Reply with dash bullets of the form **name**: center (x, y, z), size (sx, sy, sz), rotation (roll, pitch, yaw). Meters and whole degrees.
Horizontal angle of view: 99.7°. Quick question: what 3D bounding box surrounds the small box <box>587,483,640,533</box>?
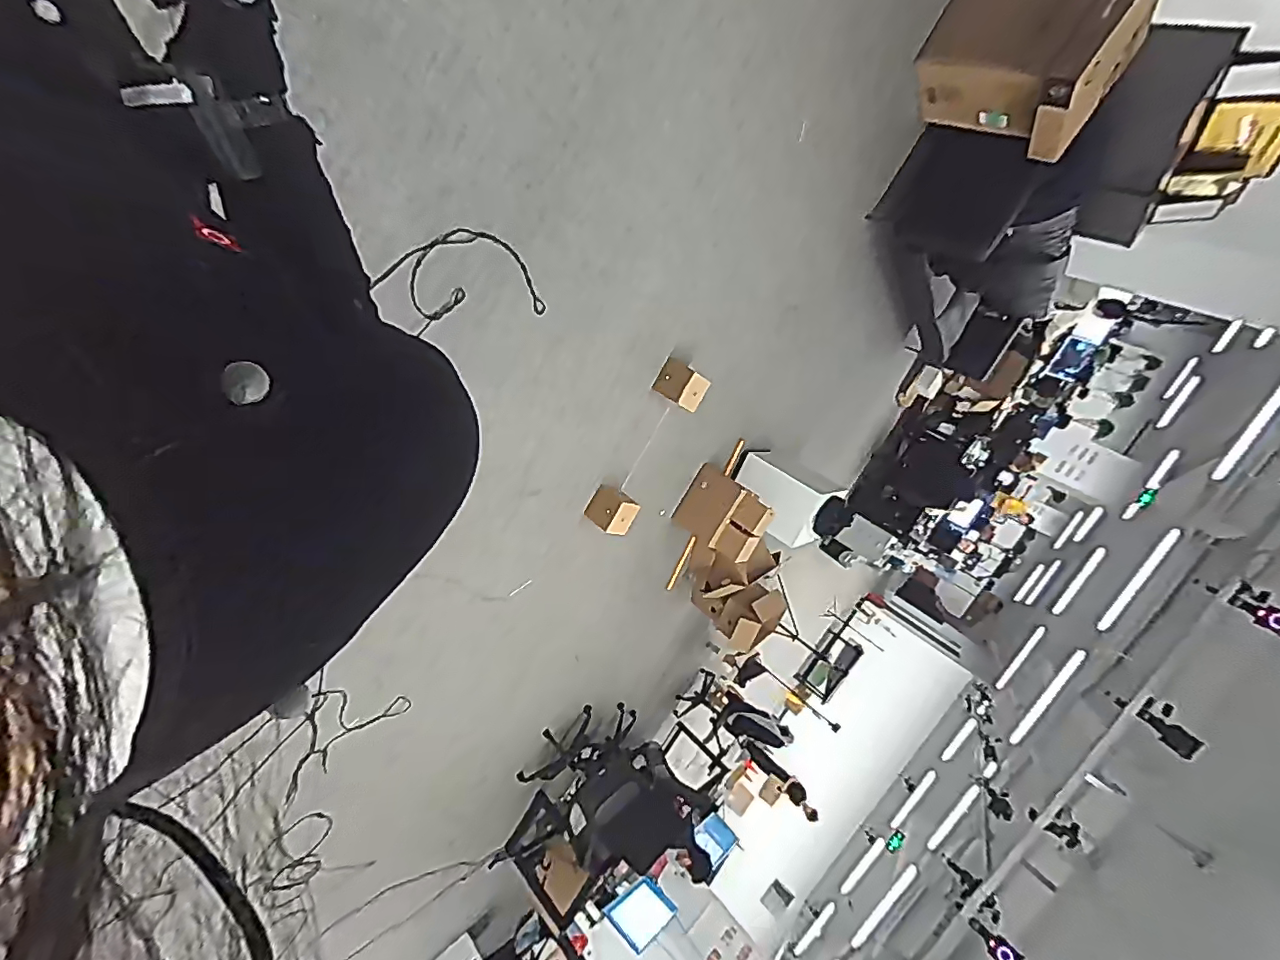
- **small box**: center (-0.137, 0.138, 2.664), size (0.168, 0.176, 0.179), rotation (16, 107, -57)

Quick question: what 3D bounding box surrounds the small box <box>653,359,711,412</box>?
- **small box**: center (0.196, -0.447, 2.537), size (0.179, 0.176, 0.168), rotation (15, 108, -57)
